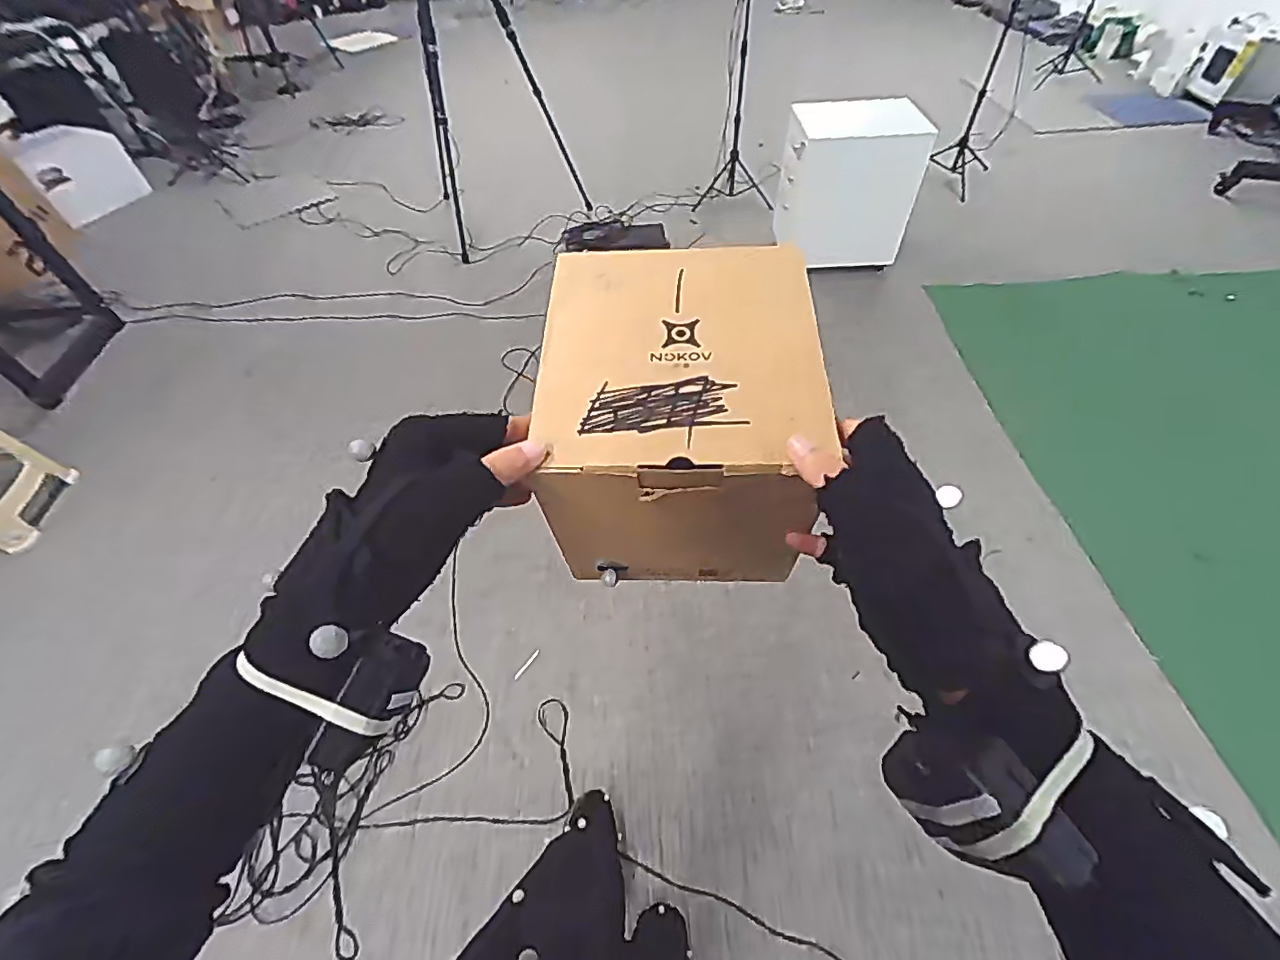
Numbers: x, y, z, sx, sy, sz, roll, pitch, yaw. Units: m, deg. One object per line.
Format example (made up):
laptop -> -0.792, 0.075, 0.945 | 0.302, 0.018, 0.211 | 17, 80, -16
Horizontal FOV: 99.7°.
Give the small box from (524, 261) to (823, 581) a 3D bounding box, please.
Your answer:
small box -> 0.026, -0.033, 0.400 | 0.168, 0.176, 0.179 | 0, 58, 4
